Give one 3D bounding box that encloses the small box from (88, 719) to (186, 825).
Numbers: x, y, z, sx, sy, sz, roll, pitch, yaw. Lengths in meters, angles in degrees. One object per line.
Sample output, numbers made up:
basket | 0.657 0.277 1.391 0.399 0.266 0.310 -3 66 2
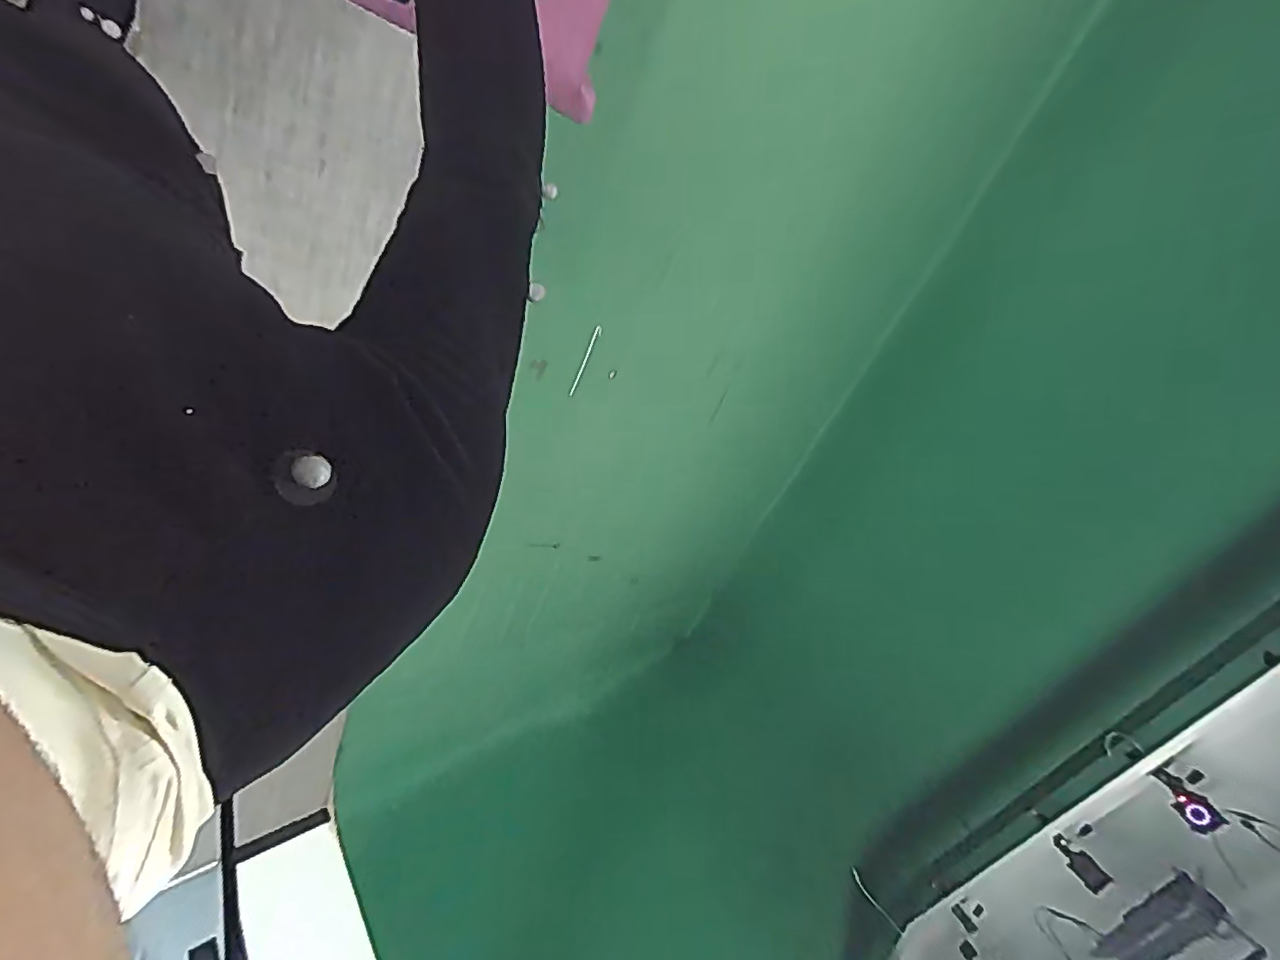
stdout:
small box | -1.401 0.801 1.504 0.179 0.176 0.168 -1 127 -49
